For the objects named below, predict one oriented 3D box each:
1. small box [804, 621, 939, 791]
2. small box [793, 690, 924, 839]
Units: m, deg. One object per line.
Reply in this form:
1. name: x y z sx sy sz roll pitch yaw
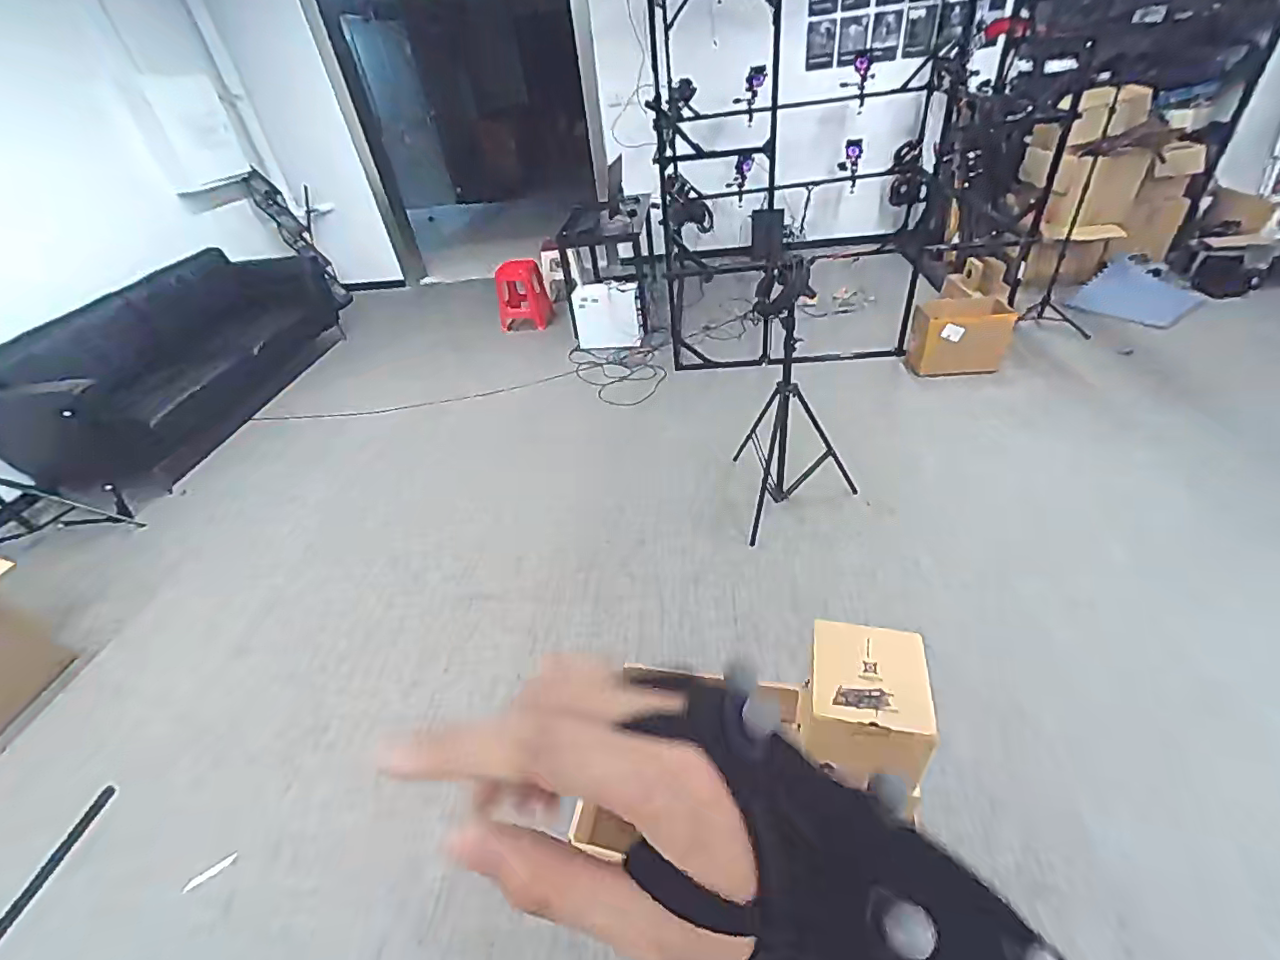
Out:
1. small box: 0.353 0.354 0.851 0.168 0.176 0.179 5 38 15
2. small box: 0.366 0.494 0.939 0.179 0.176 0.168 3 38 12
